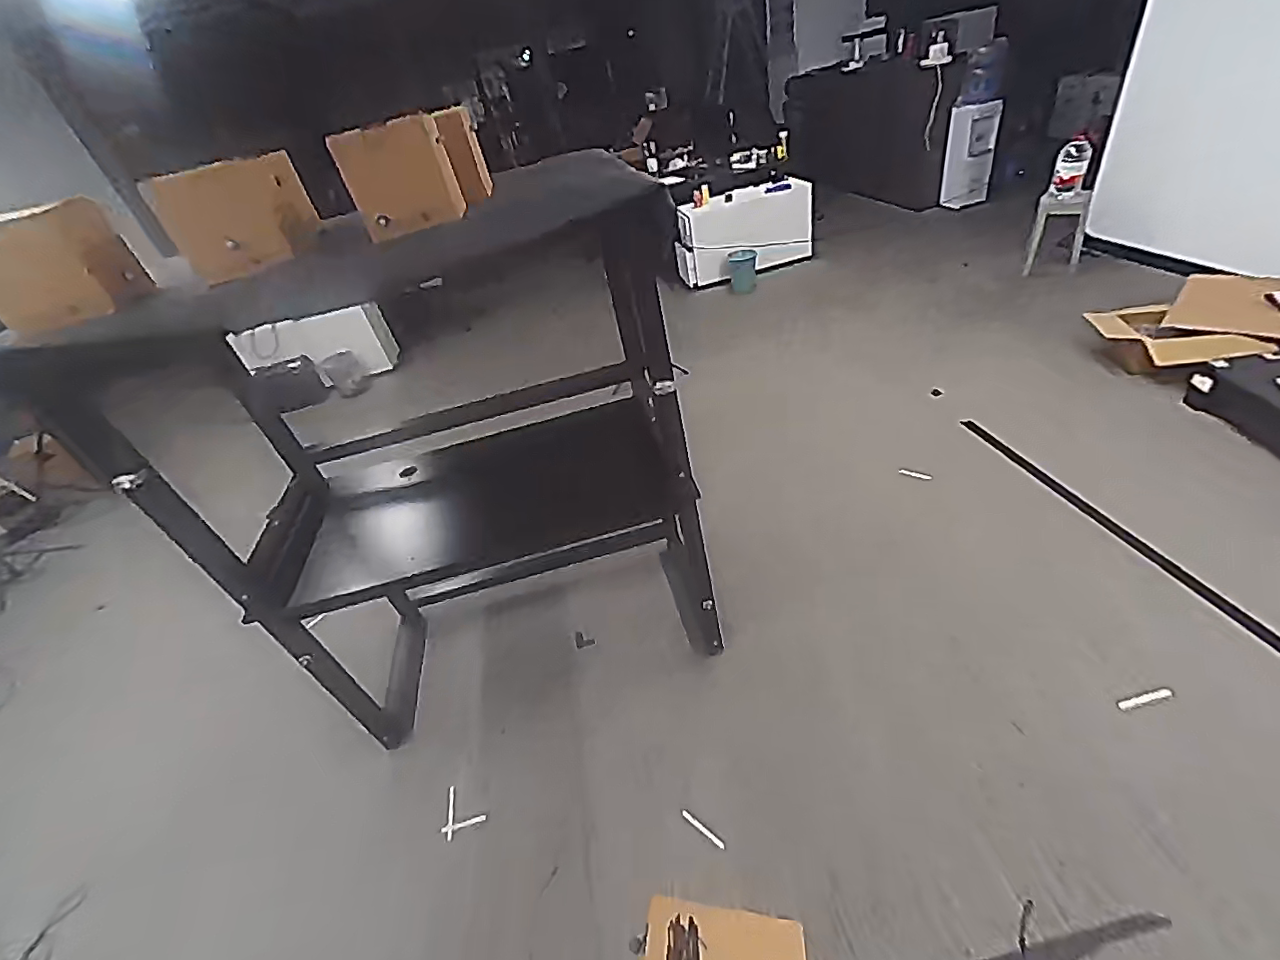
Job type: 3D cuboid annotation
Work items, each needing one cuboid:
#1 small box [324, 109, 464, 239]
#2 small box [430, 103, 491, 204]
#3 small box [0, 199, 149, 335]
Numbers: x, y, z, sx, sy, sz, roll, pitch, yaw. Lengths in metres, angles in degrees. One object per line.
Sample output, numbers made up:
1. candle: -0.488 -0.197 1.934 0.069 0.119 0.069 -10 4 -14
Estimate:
1. small box: -0.435 -0.556 0.989 0.168 0.176 0.179 -17 36 -3
2. small box: -0.433 -0.696 1.171 0.168 0.176 0.179 -16 38 -2
3. small box: -1.028 -0.374 0.948 0.168 0.176 0.179 -20 38 -8
